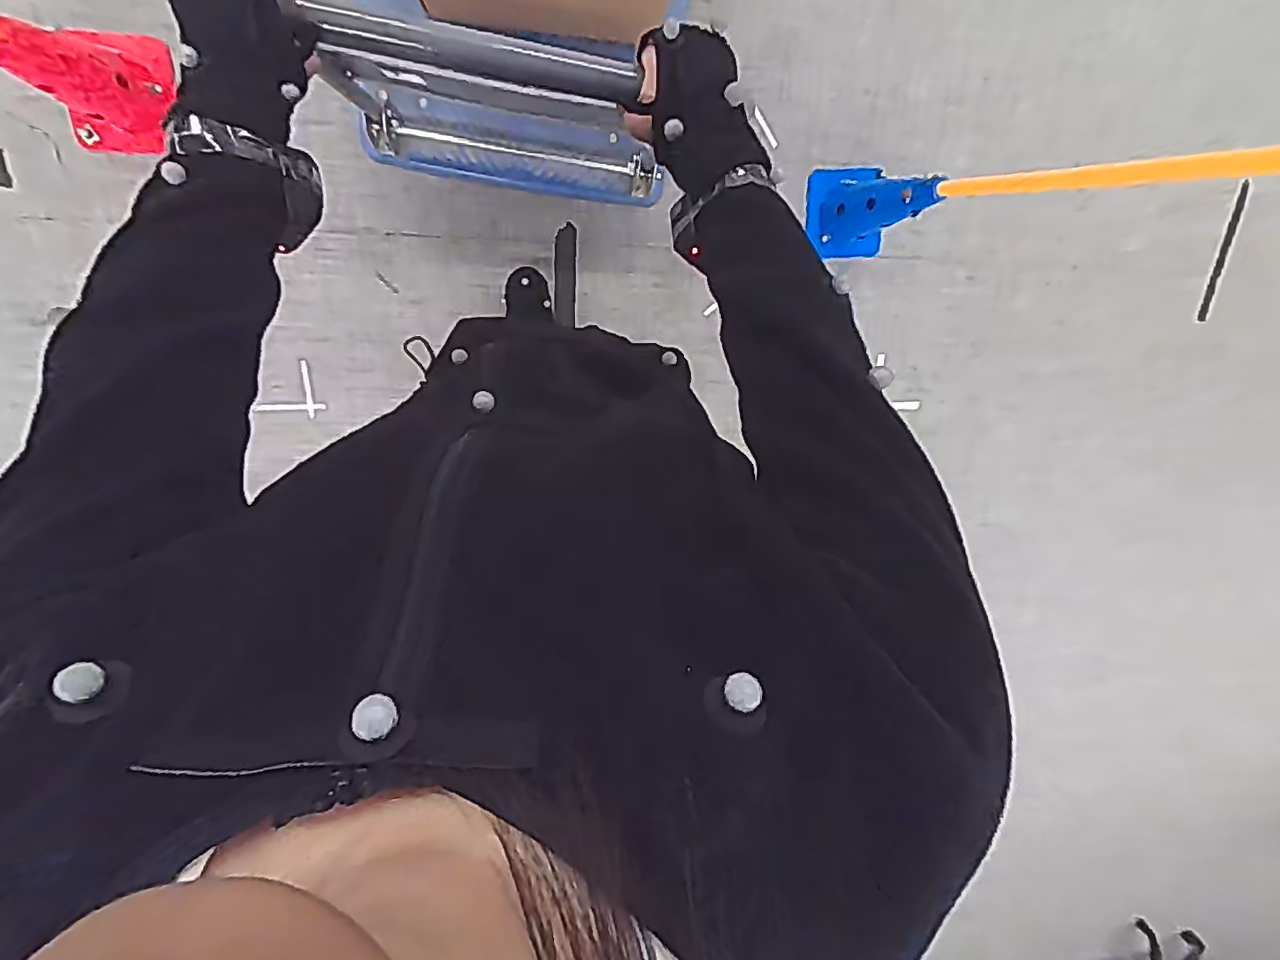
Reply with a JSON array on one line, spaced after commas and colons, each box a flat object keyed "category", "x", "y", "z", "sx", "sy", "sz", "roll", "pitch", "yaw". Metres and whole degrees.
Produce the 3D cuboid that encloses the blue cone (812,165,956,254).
[{"category": "blue cone", "x": 0.538, "y": -0.608, "z": 1.172, "sx": 0.193, "sy": 0.380, "sz": 0.192, "roll": -4, "pitch": 109, "yaw": -8}]
